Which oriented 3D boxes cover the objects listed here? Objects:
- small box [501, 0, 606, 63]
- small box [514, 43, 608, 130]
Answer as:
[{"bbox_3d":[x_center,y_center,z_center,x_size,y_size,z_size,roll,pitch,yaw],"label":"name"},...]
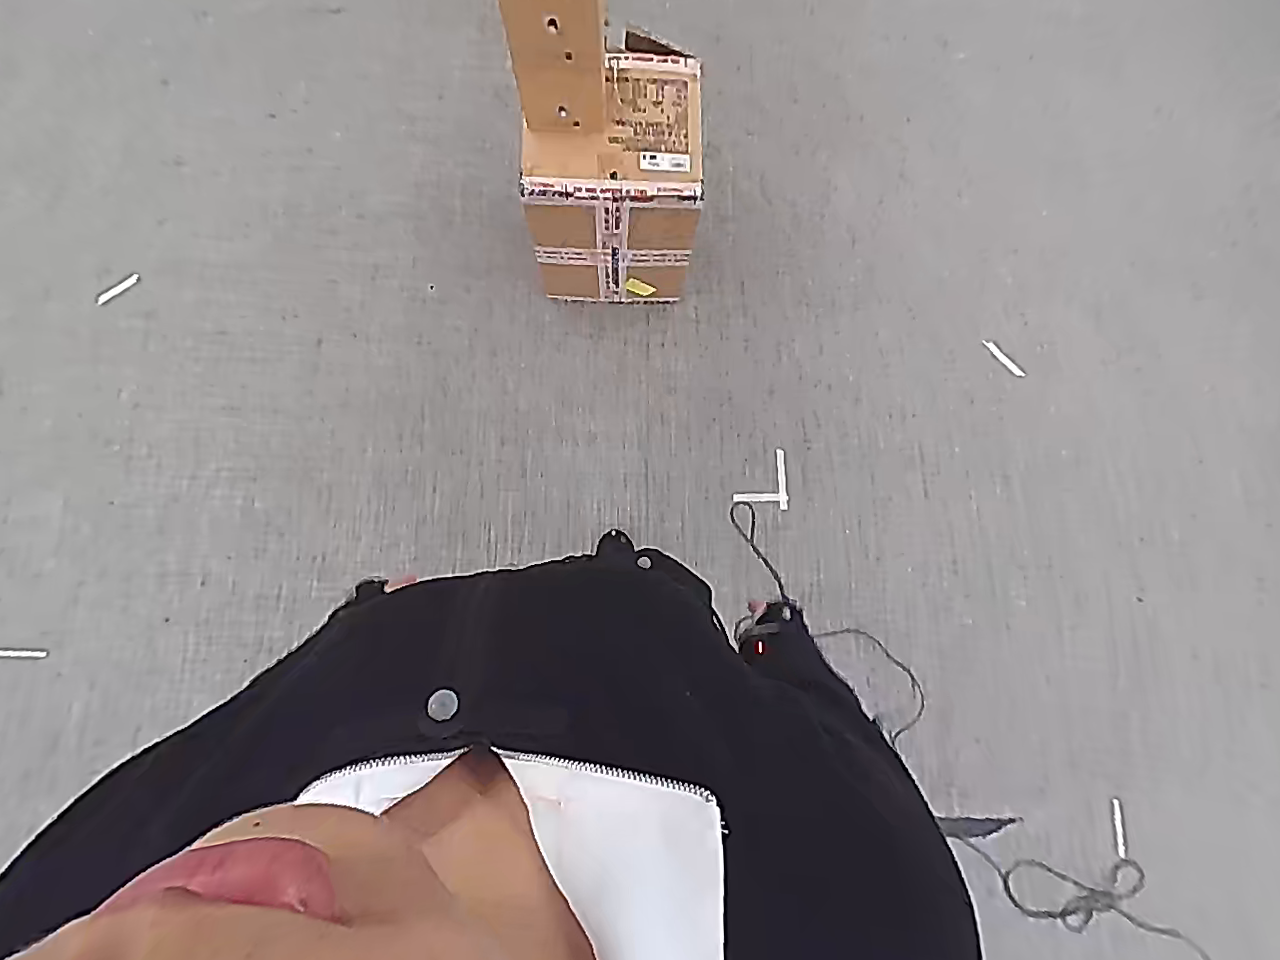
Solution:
[{"bbox_3d":[-0.143,-0.851,0.914,0.168,0.176,0.179,1,84,-1],"label":"small box"},{"bbox_3d":[-0.151,-0.841,1.079,0.168,0.176,0.179,-1,84,0],"label":"small box"}]
